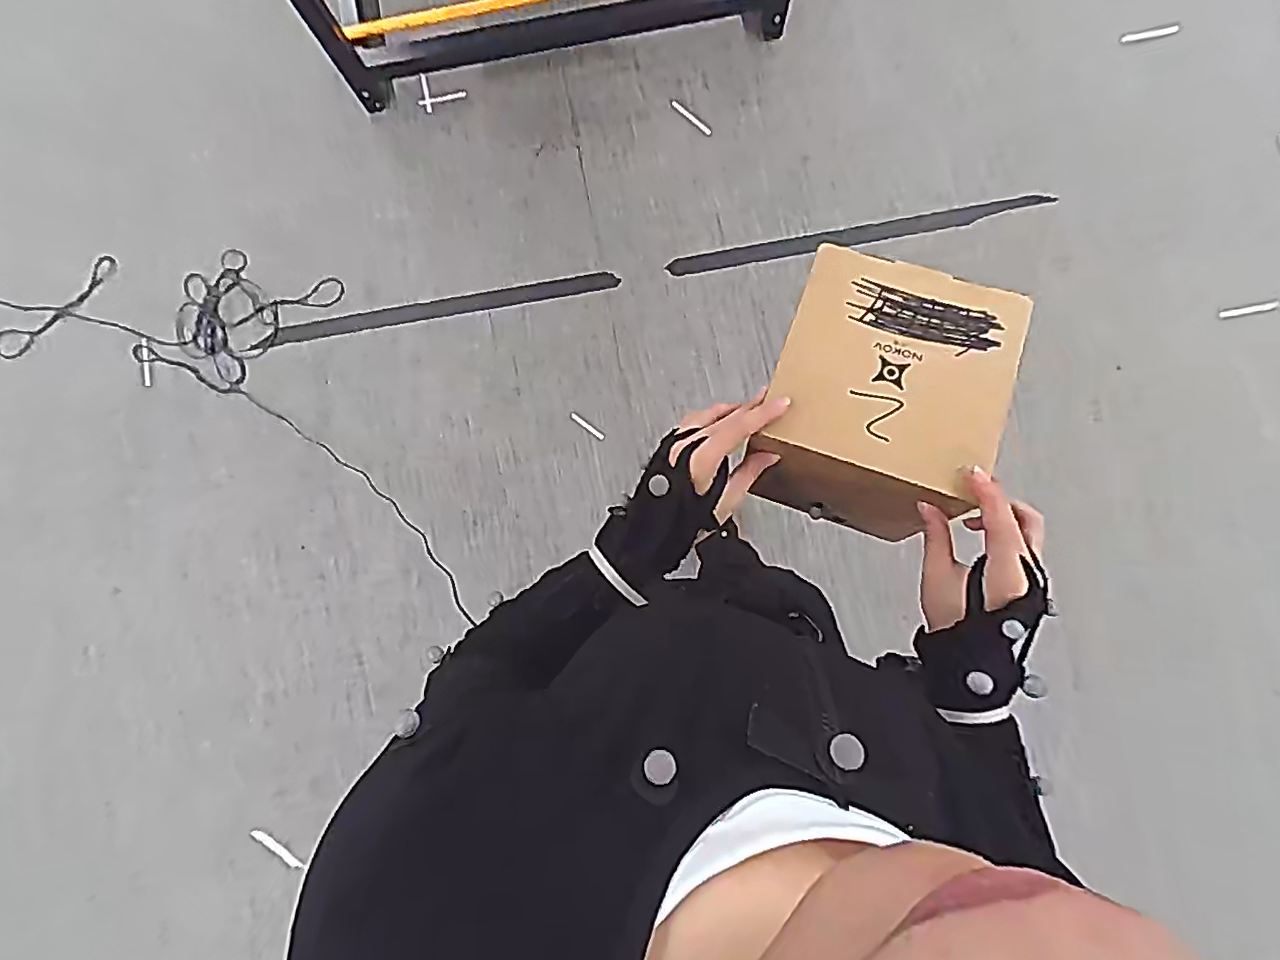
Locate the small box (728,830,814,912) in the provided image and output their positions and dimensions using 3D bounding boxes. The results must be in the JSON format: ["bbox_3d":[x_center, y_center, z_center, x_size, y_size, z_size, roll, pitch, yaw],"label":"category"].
[{"bbox_3d":[0.304,0.940,1.244,0.168,0.176,0.179,-9,86,1],"label":"small box"}]
